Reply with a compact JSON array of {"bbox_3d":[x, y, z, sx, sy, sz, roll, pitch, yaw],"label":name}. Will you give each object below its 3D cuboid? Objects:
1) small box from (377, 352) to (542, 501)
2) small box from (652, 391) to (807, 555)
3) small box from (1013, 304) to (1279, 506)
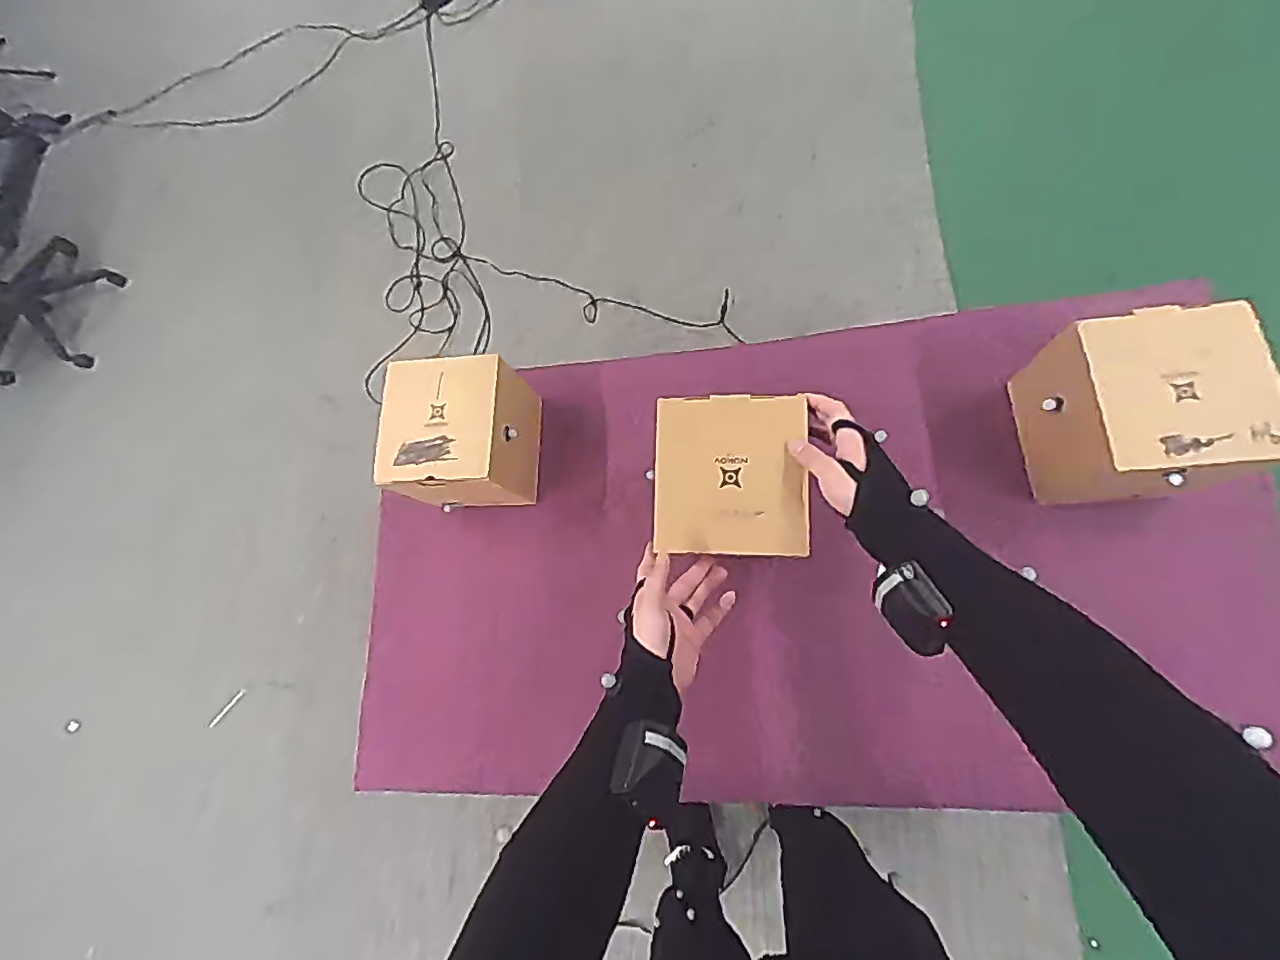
[{"bbox_3d":[-0.251,-0.066,0.792,0.168,0.176,0.179,-1,76,10],"label":"small box"},{"bbox_3d":[0.109,-0.001,0.666,0.168,0.176,0.179,1,82,9],"label":"small box"},{"bbox_3d":[0.575,-0.076,0.634,0.168,0.176,0.179,-5,74,11],"label":"small box"}]
